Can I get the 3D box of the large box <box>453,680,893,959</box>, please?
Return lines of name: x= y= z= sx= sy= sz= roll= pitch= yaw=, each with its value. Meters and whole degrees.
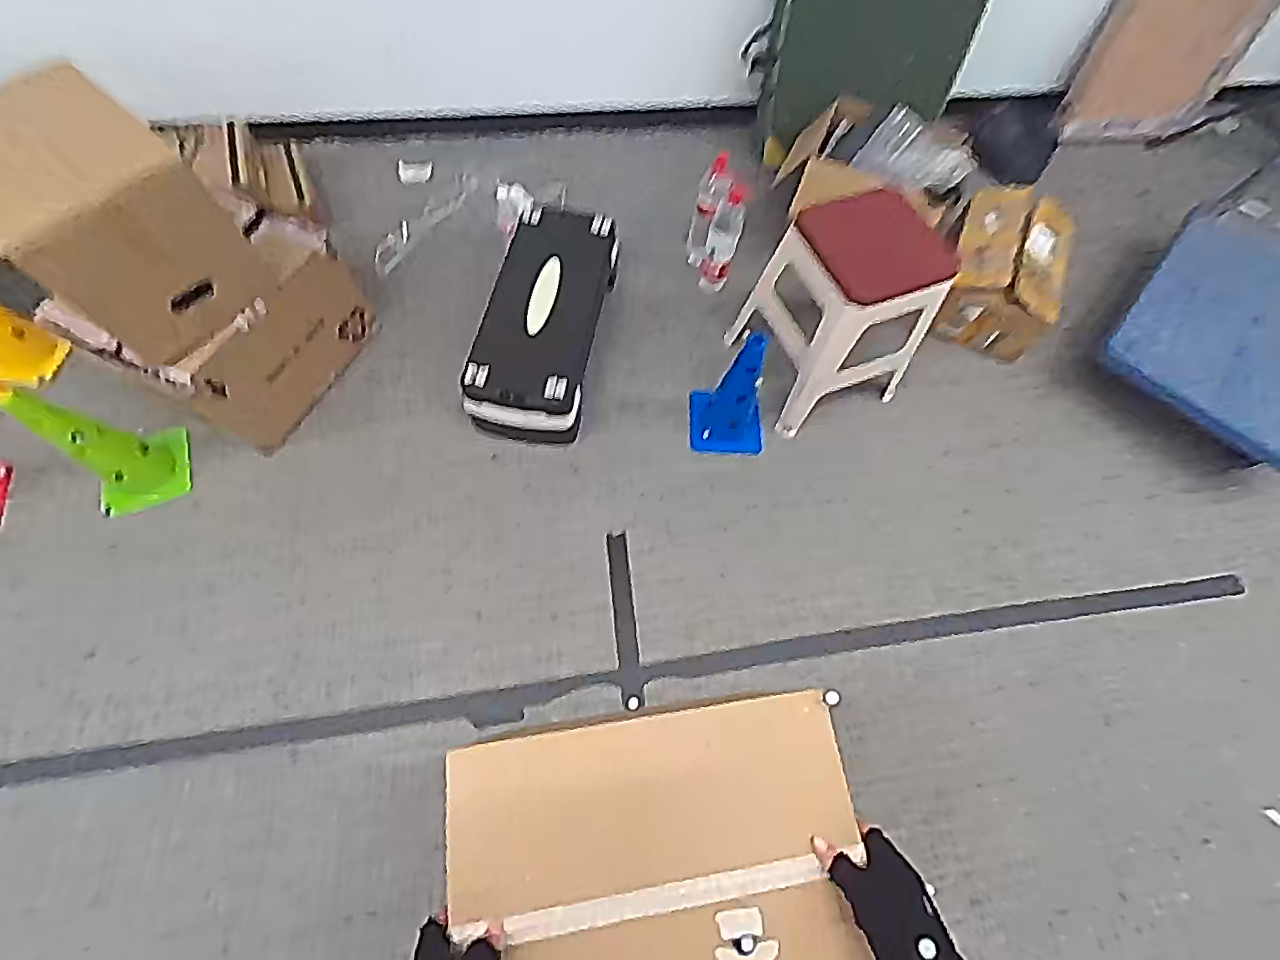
large box: x=0.018 y=0.446 z=0.661 sx=0.408 sy=0.320 sz=0.320 roll=-7 pitch=70 yaw=-6
